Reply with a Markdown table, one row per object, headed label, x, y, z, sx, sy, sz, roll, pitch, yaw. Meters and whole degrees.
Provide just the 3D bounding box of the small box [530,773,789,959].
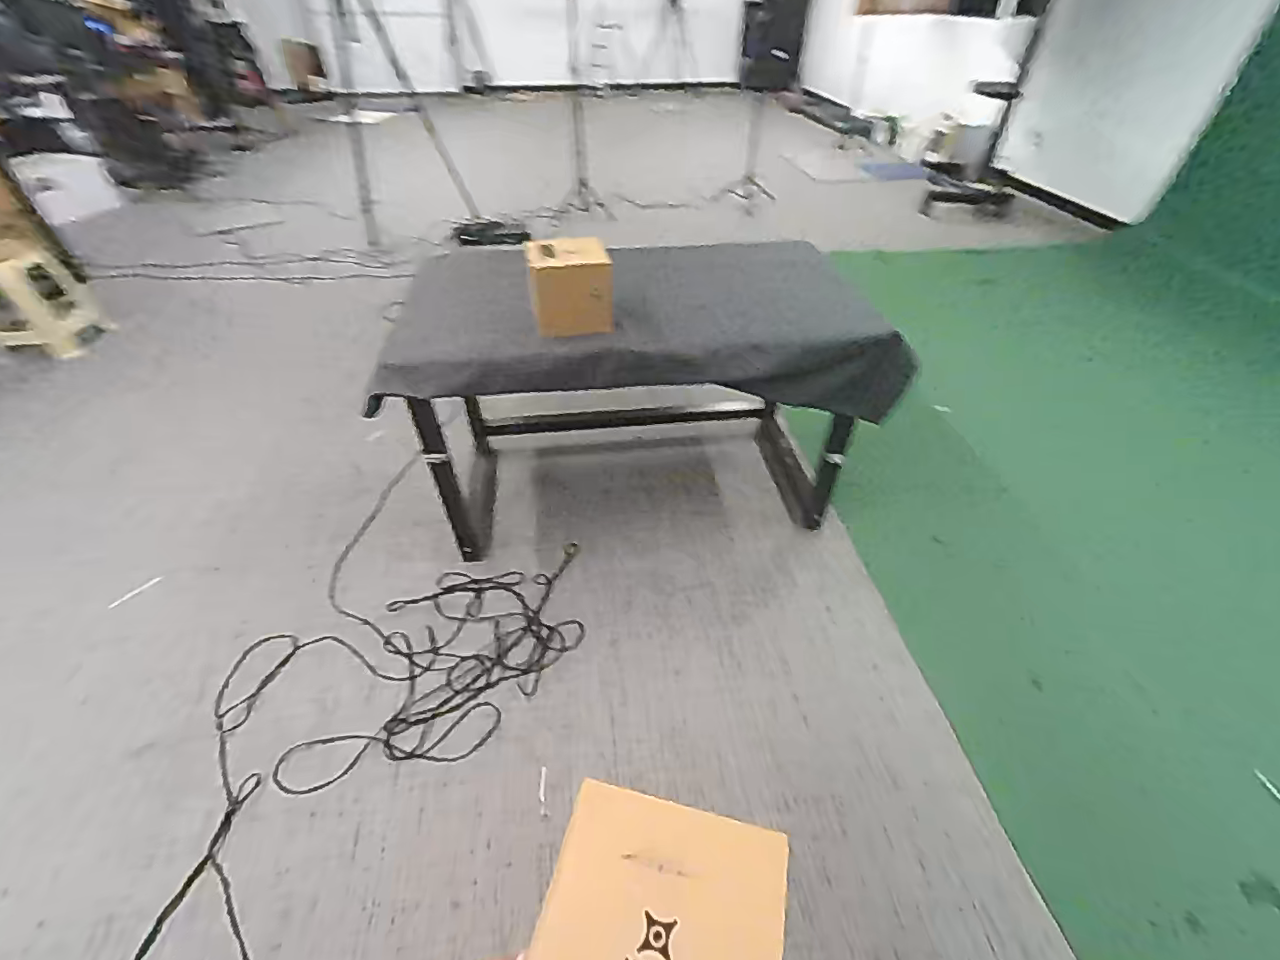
| label | x | y | z | sx | sy | sz | roll | pitch | yaw |
| --- | --- | --- | --- | --- | --- | --- | --- | --- | --- |
| small box | 0.016 | 0.367 | 0.417 | 0.168 | 0.176 | 0.179 | 9 | 41 | 10 |
